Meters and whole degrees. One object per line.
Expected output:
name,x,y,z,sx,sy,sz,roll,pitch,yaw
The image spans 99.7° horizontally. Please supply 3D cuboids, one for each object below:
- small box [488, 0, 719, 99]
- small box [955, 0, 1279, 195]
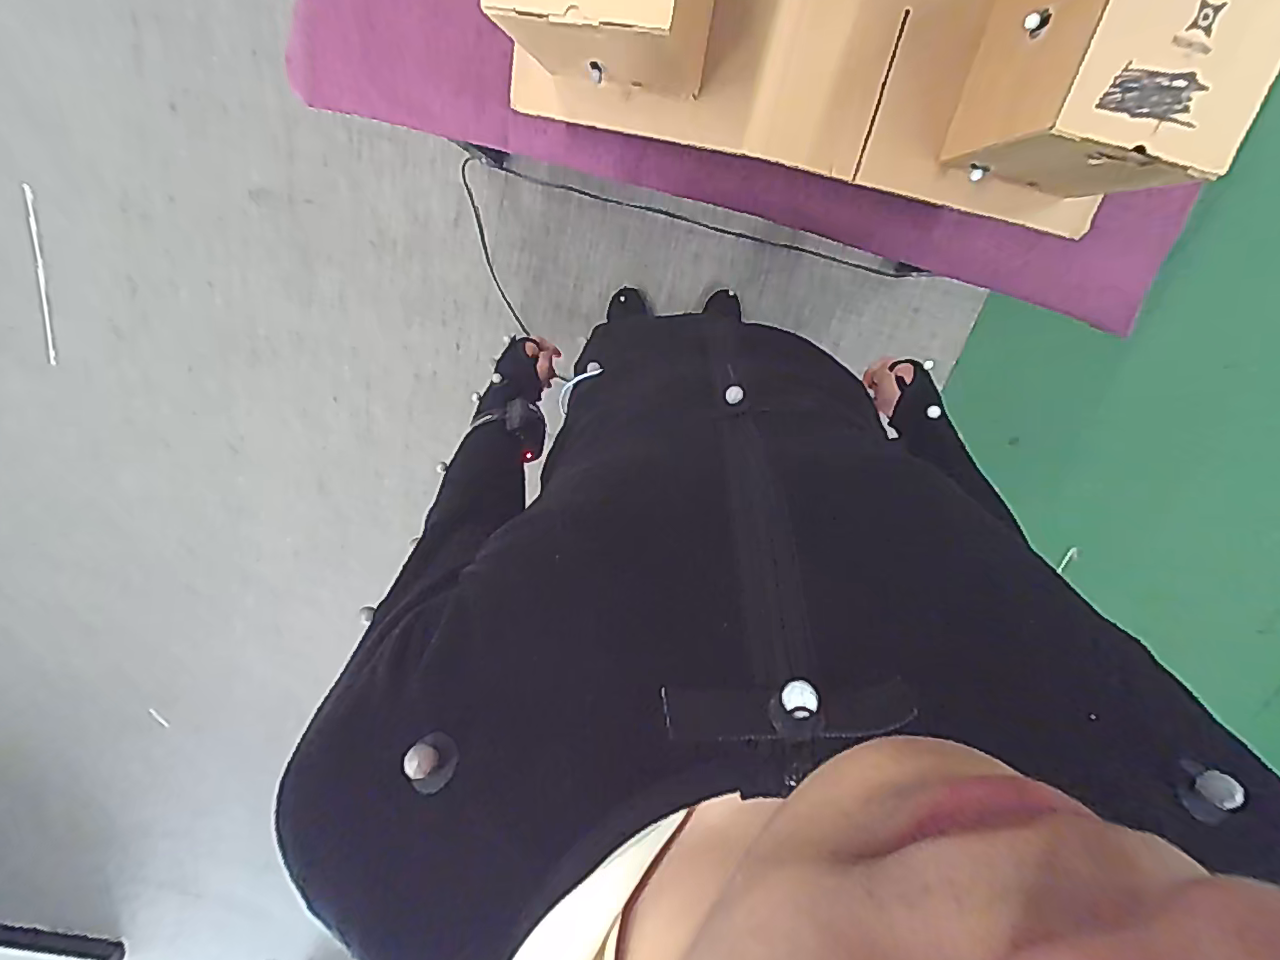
small box,-0.016,-0.473,0.478,0.168,0.176,0.179,14,114,8
small box,0.428,-0.377,0.492,0.168,0.176,0.179,10,111,-7
